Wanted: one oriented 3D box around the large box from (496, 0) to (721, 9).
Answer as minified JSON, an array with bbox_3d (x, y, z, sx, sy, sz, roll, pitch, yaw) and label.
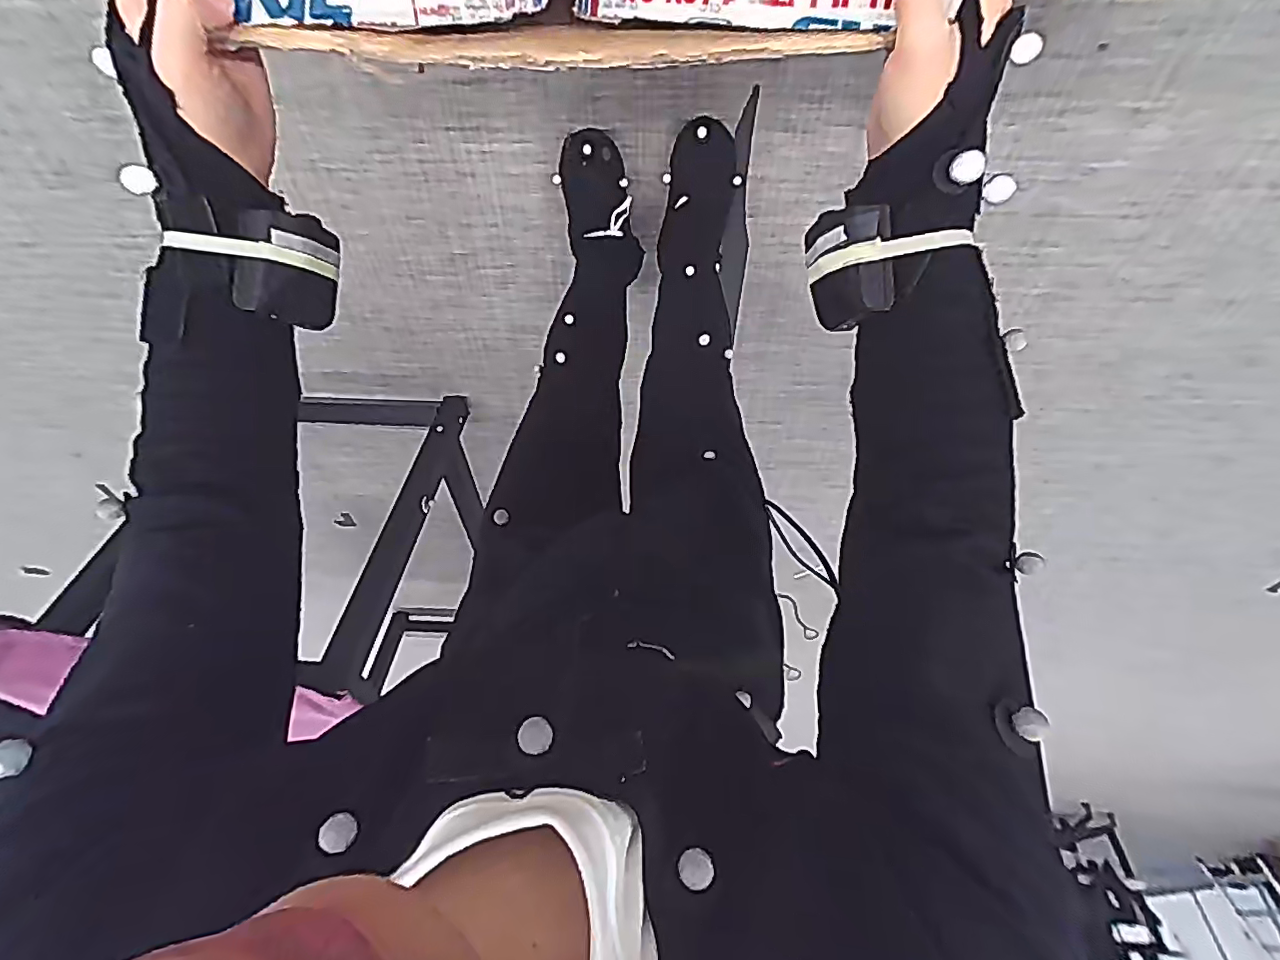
[{"bbox_3d":[0.005,-0.717,0.485,0.320,0.320,0.408,2,138,4],"label":"large box"}]
